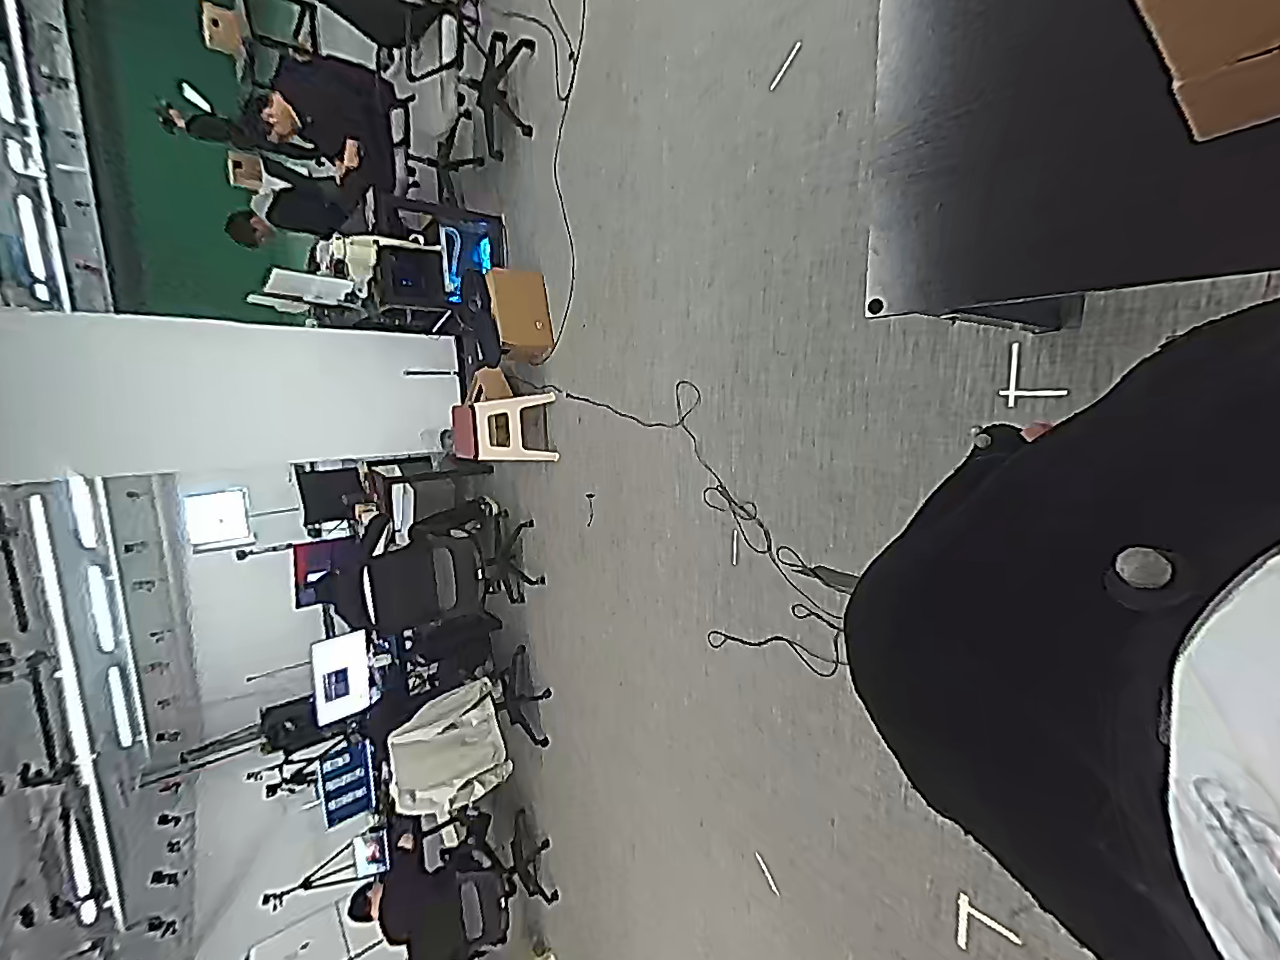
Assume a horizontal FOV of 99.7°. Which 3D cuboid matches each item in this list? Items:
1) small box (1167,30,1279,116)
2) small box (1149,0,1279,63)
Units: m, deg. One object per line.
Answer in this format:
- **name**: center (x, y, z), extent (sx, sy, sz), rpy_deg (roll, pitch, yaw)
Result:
- **small box**: center (0.546, -0.420, 0.423), extent (0.168, 0.176, 0.179), rpy_deg (4, 100, 52)
- **small box**: center (0.415, -0.406, 0.320), extent (0.168, 0.176, 0.179), rpy_deg (2, 98, 53)
